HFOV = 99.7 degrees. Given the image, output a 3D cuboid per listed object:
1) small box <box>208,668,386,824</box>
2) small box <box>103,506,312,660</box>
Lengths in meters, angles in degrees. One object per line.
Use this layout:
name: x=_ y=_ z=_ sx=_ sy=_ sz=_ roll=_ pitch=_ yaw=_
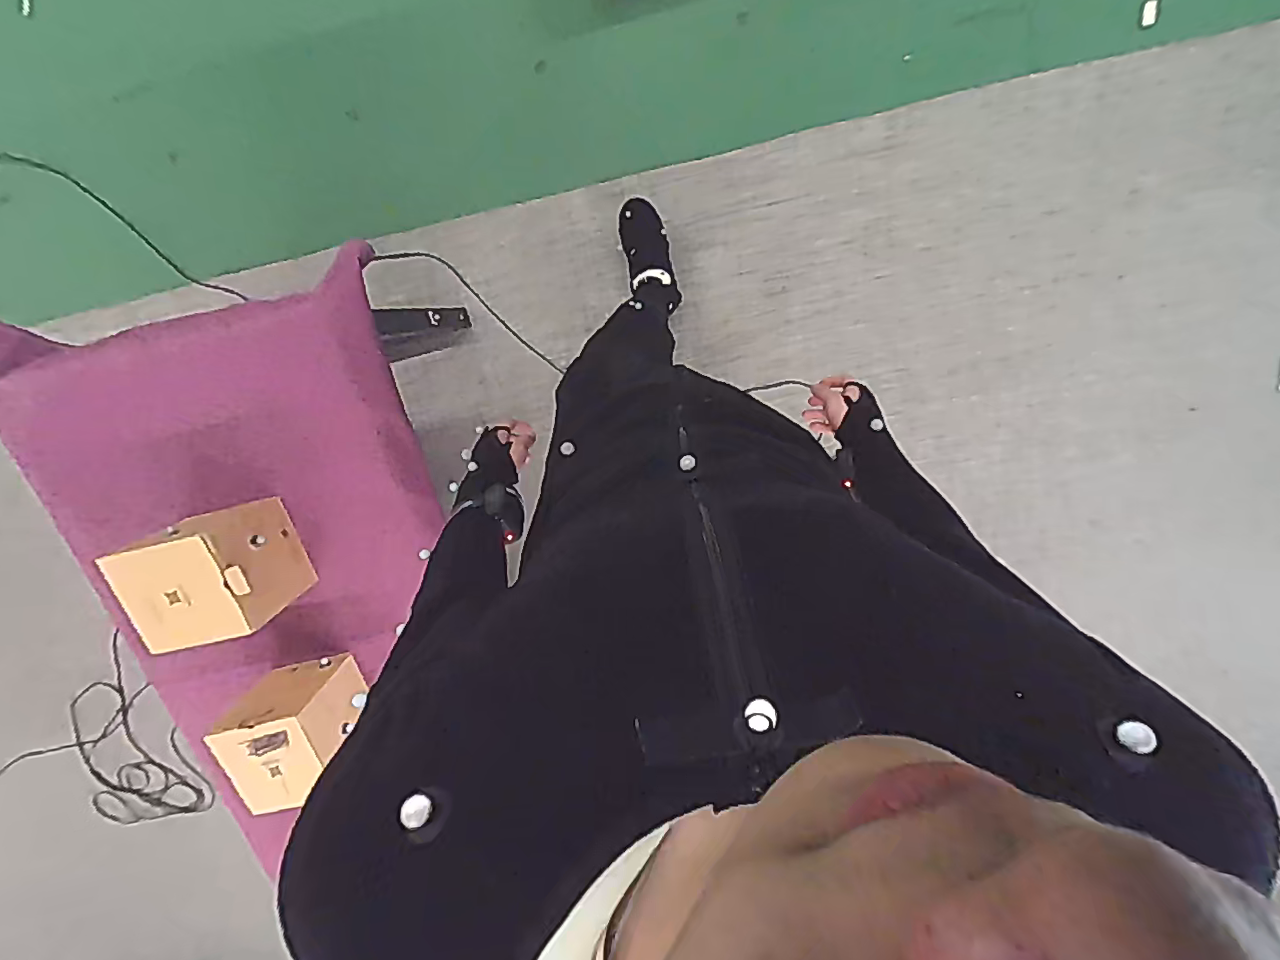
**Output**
small box: x=-0.584 y=0.453 z=0.948 sx=0.168 sy=0.176 sz=0.179 roll=-14 pitch=107 yaw=6
small box: x=-0.664 y=0.155 z=0.862 sx=0.179 sy=0.176 sz=0.168 roll=-13 pitch=106 yaw=6
